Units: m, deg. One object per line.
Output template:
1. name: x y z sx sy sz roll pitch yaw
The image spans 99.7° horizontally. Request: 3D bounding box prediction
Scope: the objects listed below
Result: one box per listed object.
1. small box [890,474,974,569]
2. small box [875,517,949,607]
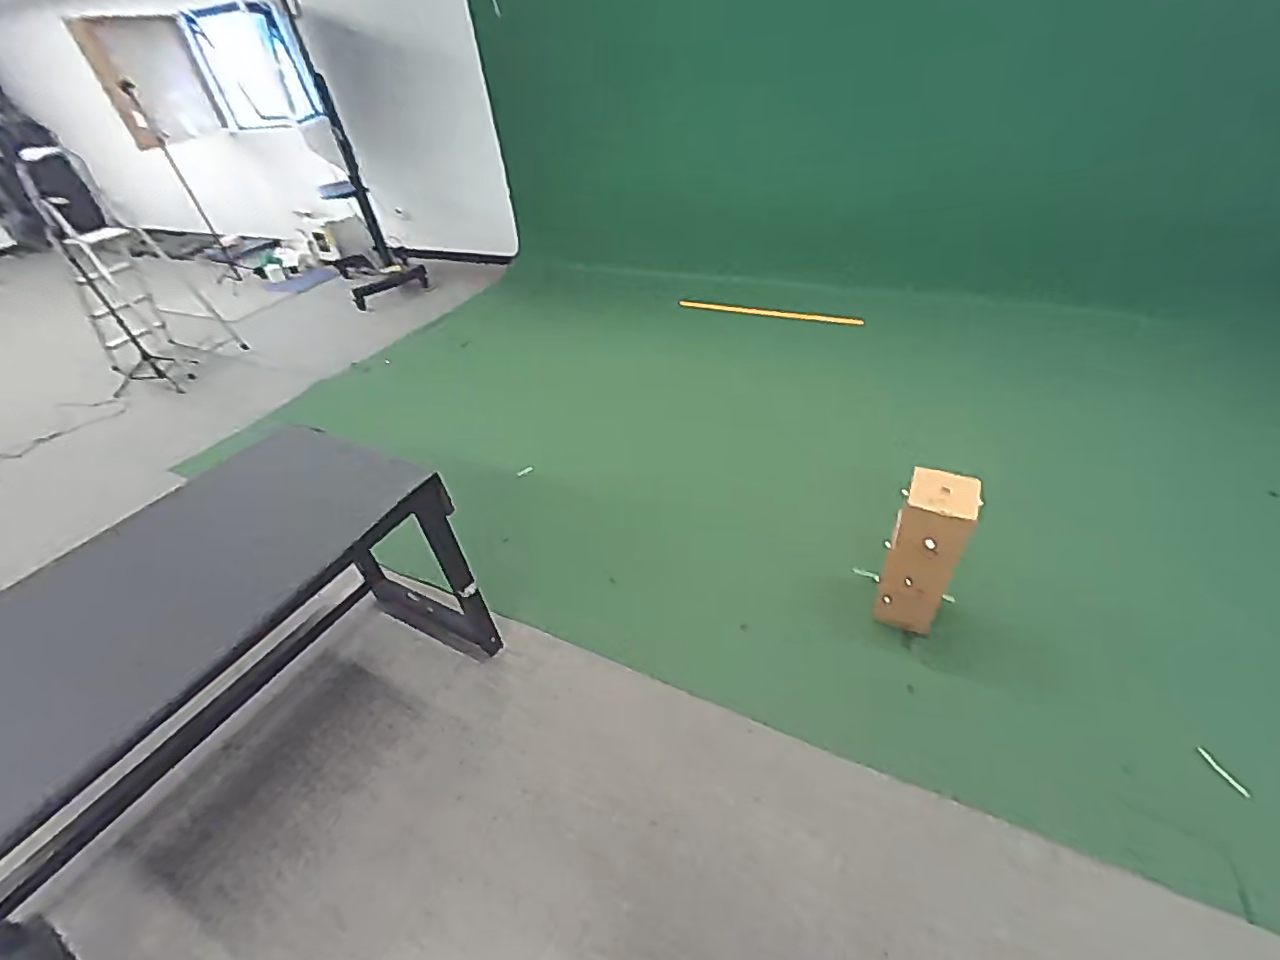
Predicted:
1. small box: 0.812 0.114 1.511 0.168 0.176 0.179 16 43 23
2. small box: 0.814 0.244 1.615 0.168 0.176 0.179 15 43 22
